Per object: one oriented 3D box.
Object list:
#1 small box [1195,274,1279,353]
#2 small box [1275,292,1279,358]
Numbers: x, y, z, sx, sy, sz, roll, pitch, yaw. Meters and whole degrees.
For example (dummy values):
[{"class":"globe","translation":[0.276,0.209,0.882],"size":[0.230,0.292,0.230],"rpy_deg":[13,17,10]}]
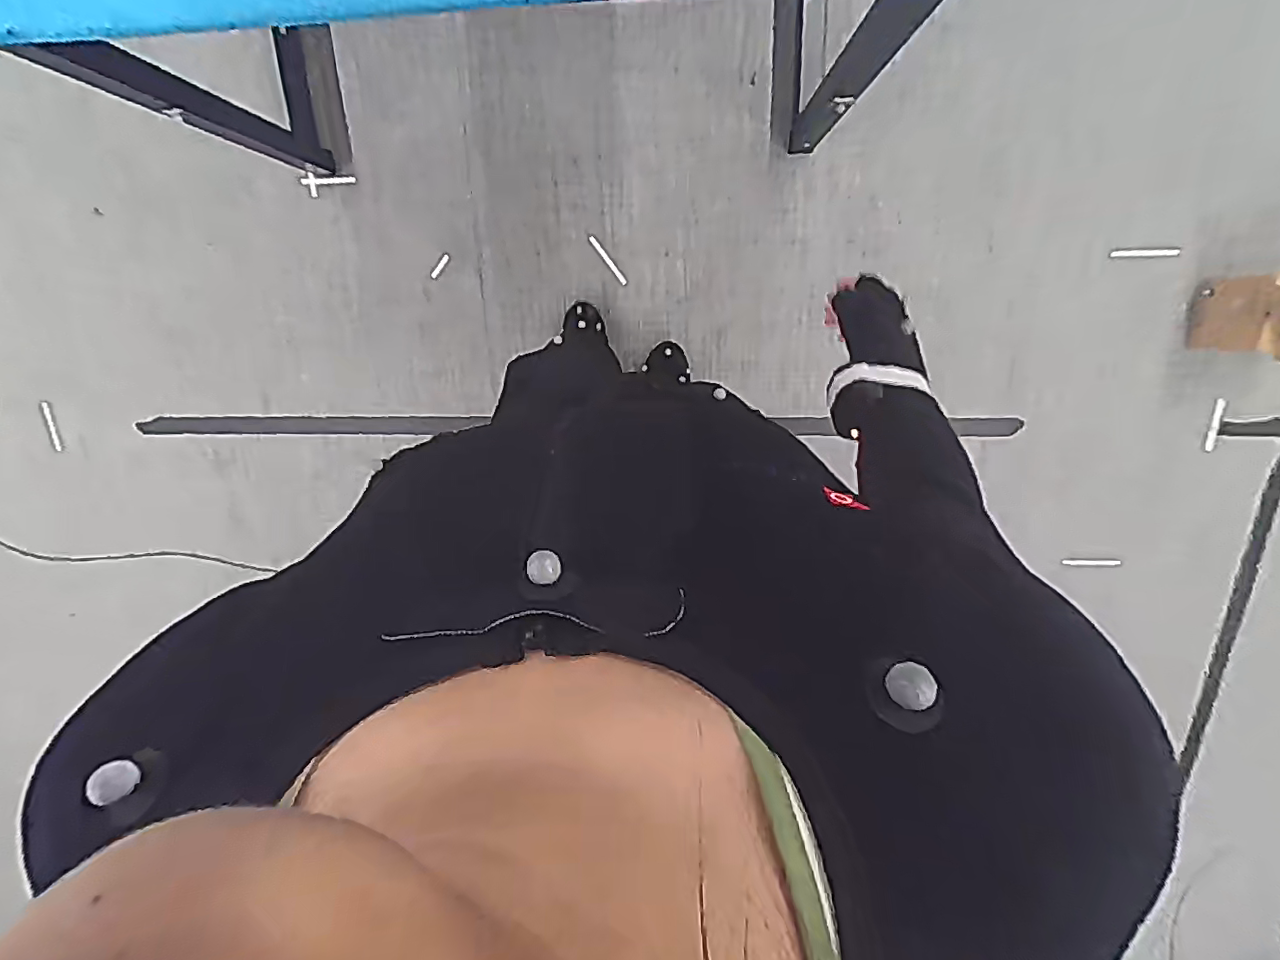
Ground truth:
[{"class":"small box","translation":[1.423,-0.374,1.213],"size":[0.179,0.176,0.168],"rpy_deg":[-2,107,3]},{"class":"small box","translation":[1.426,-0.329,1.054],"size":[0.179,0.176,0.168],"rpy_deg":[-13,105,9]}]
